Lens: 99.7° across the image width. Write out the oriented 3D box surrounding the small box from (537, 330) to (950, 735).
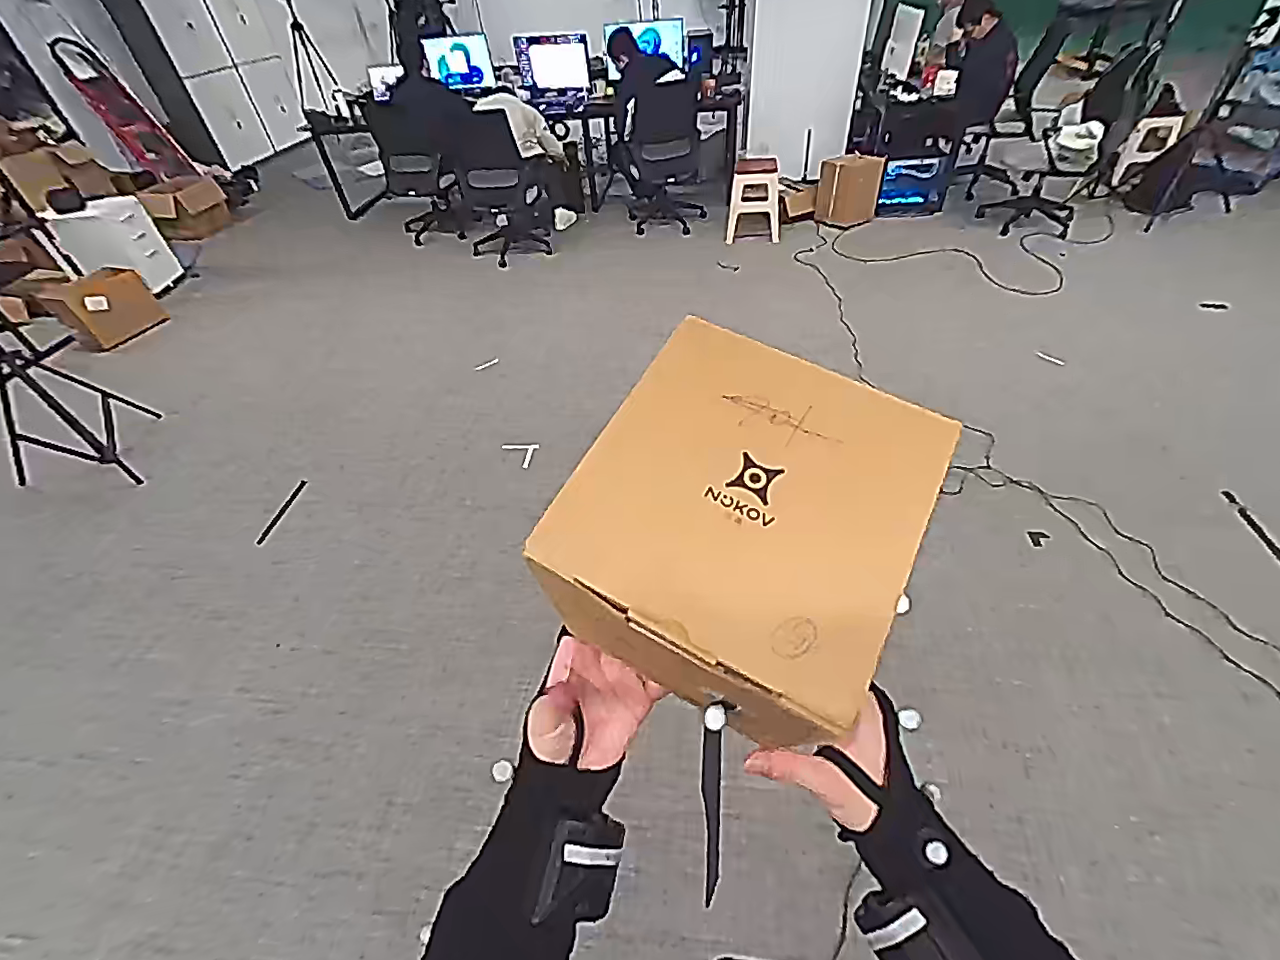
[{"bbox_3d":[0.060,0.044,0.354,0.168,0.176,0.179,27,64,13],"label":"small box"}]
